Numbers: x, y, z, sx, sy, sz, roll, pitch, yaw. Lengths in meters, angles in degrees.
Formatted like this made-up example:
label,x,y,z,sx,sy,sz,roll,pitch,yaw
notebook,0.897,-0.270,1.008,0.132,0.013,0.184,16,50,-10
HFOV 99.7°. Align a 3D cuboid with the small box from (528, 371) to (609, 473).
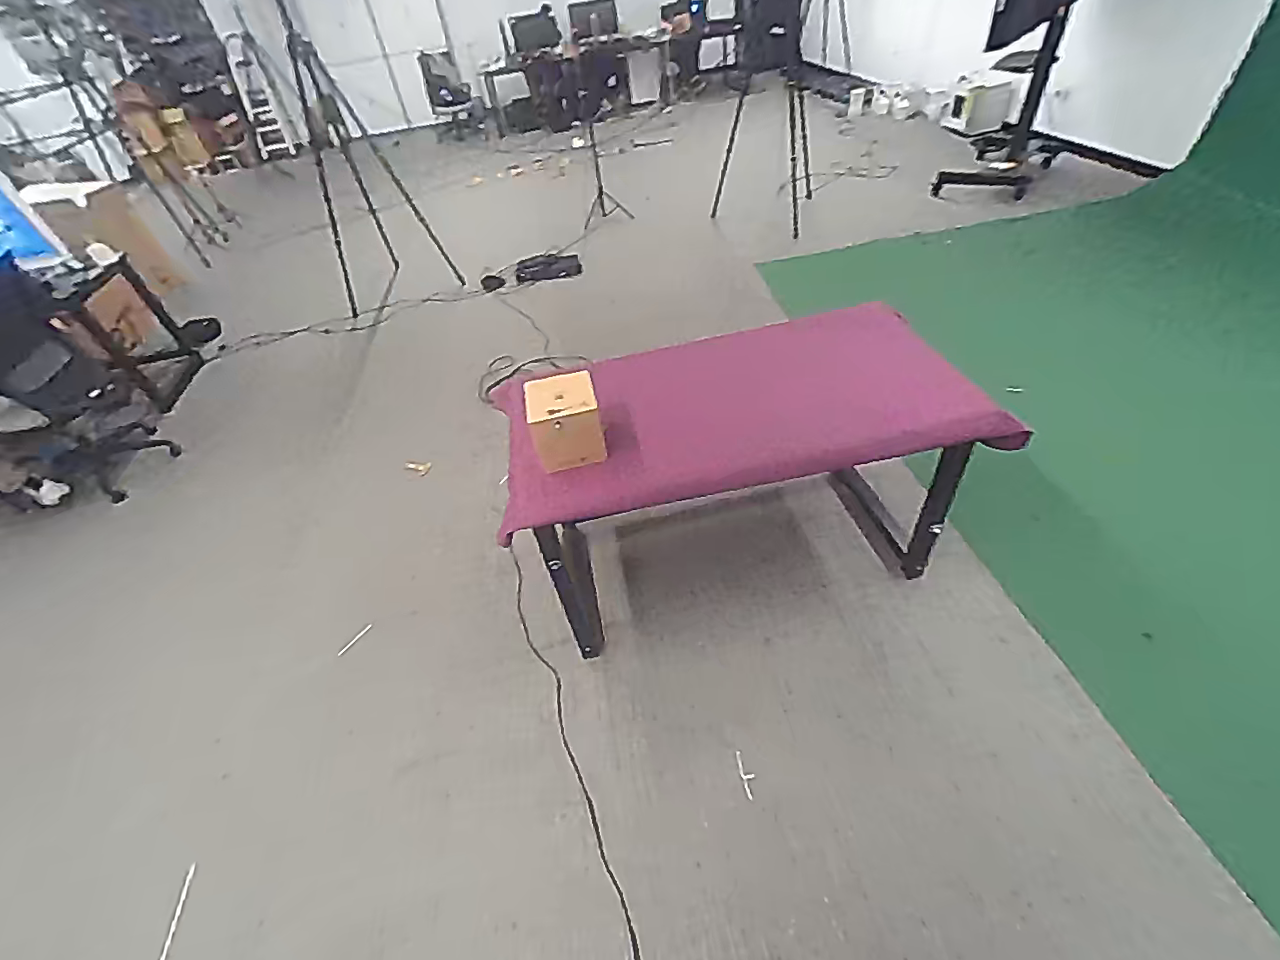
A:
label,x,y,z,sx,sy,sz,roll,pitch,yaw
small box,-0.181,-0.146,1.367,0.168,0.176,0.179,-14,44,-3
